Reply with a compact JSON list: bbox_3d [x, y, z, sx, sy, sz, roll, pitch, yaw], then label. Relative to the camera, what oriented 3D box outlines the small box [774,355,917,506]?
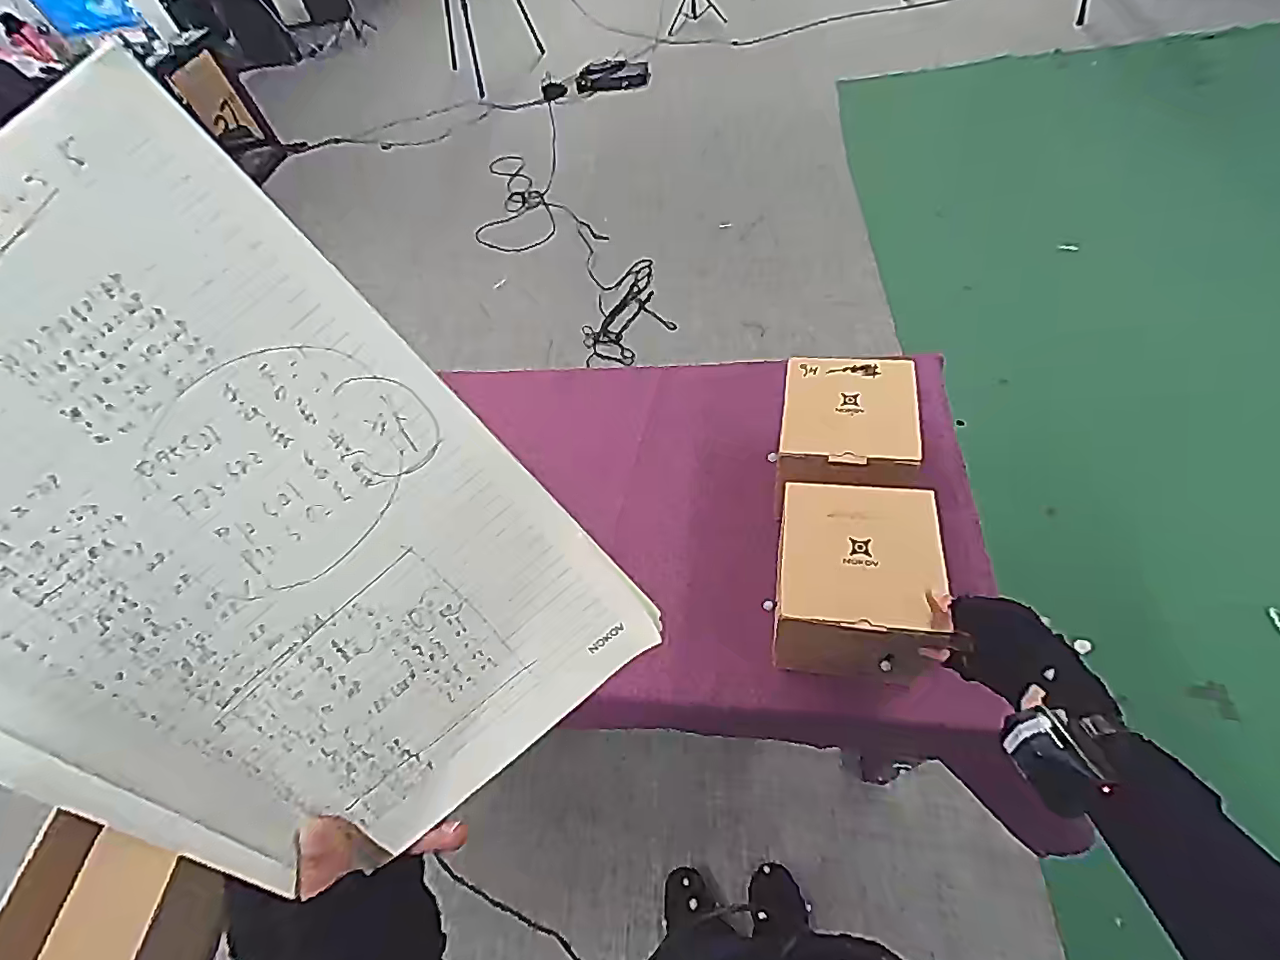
[{"bbox_3d":[0.282,-0.053,0.765,0.168,0.176,0.179,6,58,15],"label":"small box"}]

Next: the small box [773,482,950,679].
[{"bbox_3d":[0.250,0.124,0.647,0.168,0.176,0.179,4,56,13],"label":"small box"}]
